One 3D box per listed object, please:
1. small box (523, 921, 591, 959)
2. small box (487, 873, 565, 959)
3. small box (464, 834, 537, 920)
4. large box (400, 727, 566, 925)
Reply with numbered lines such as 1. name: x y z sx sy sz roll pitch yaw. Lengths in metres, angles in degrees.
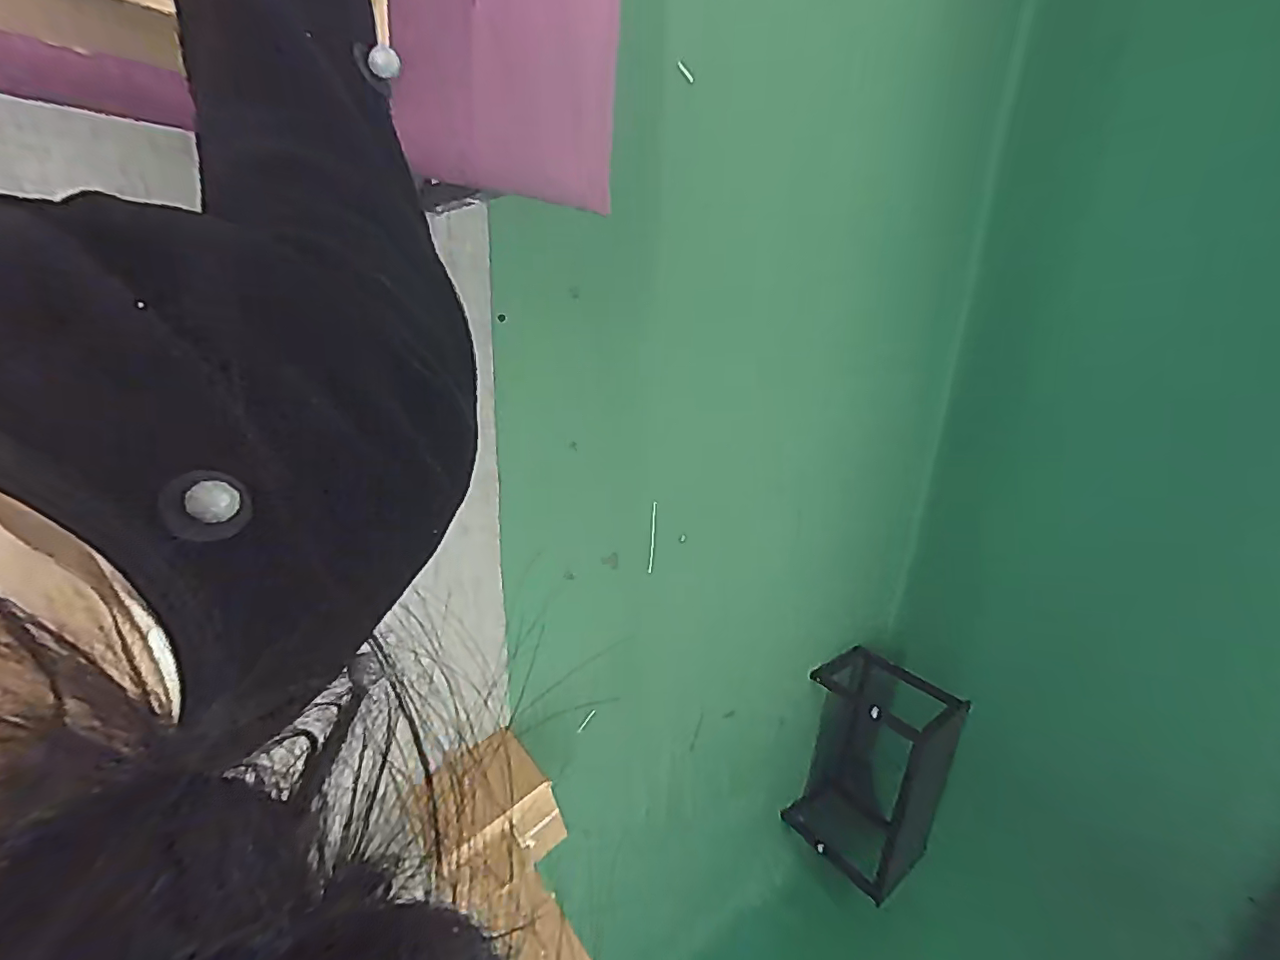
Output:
1. small box: -0.204 1.310 1.392 0.179 0.176 0.168 -26 121 -30
2. small box: -0.309 1.266 1.511 0.179 0.176 0.168 -28 121 -31
3. small box: -0.409 1.219 1.632 0.168 0.176 0.179 -26 121 -31
4. large box: -0.527 1.150 1.838 0.408 0.320 0.320 -28 123 -32
